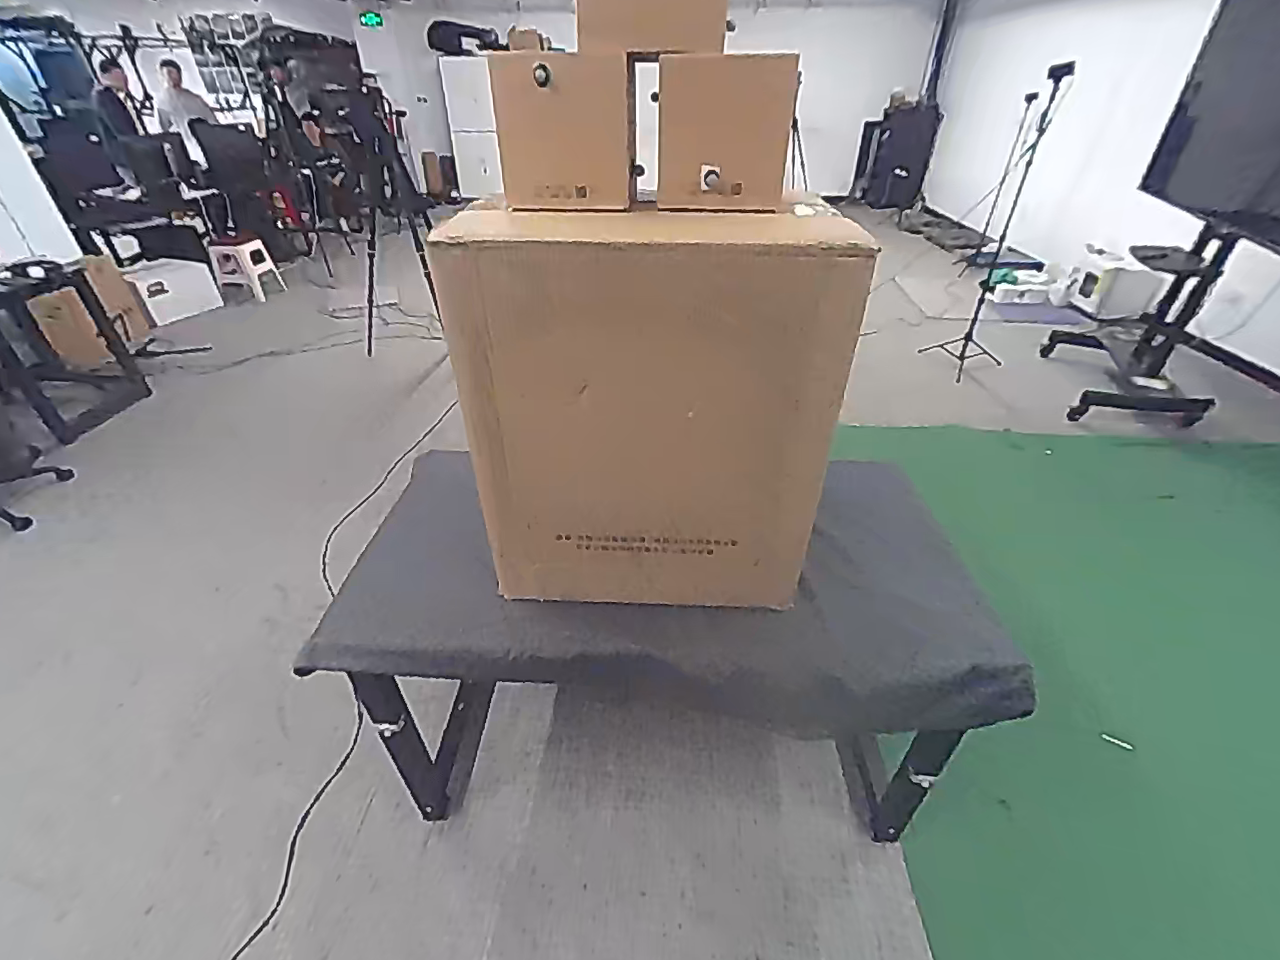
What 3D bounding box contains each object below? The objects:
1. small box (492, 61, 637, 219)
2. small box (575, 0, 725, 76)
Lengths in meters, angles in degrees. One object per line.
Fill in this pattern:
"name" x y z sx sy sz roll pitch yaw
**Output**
"small box" -0.092 -0.470 0.754 0.168 0.176 0.179 1 33 4
"small box" 0.016 -0.610 0.670 0.179 0.176 0.168 1 33 2
